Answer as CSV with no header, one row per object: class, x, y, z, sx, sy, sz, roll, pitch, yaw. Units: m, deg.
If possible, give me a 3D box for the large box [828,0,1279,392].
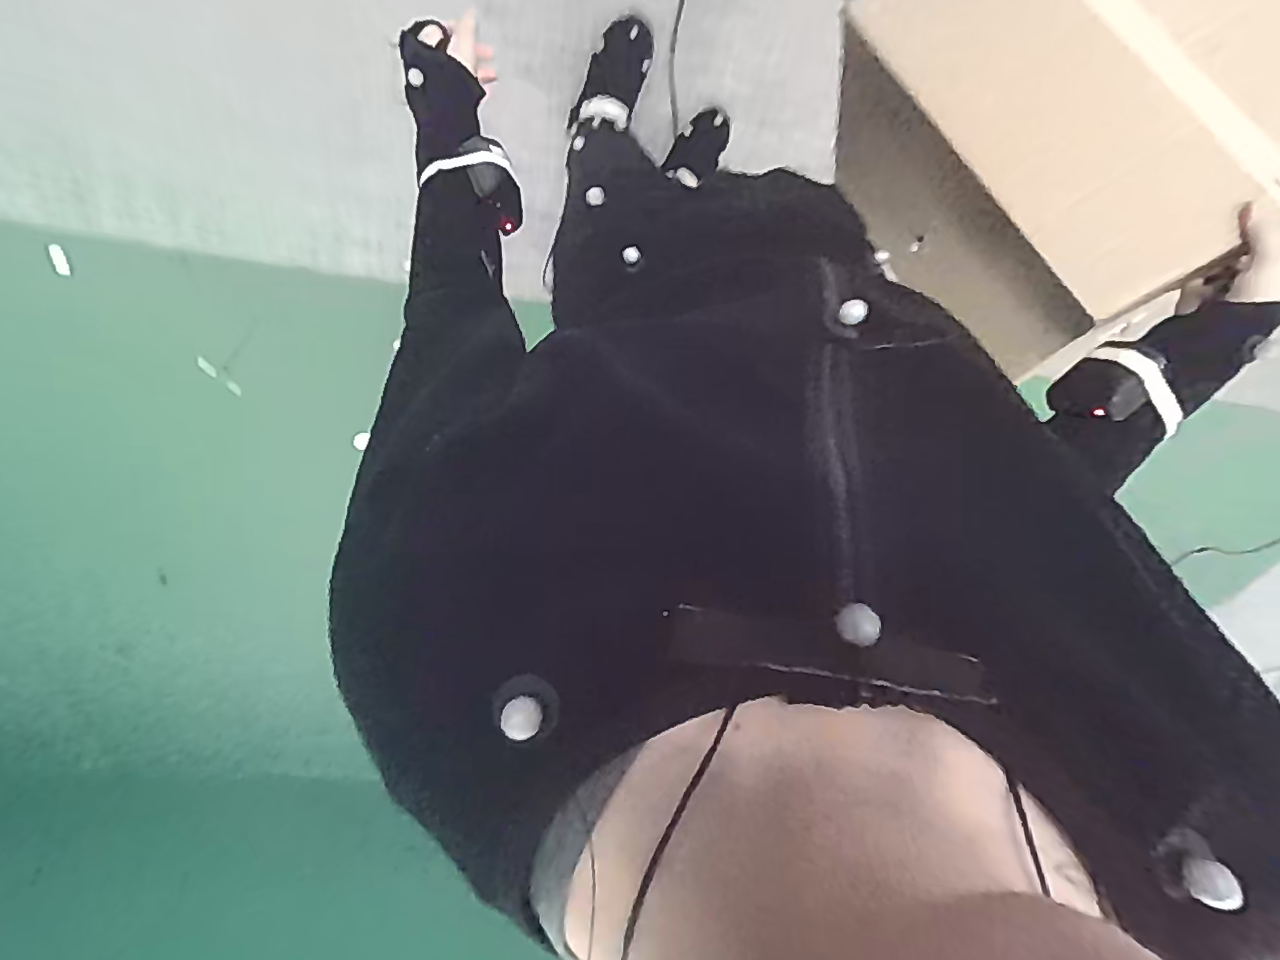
large box,0.459,-0.372,0.620,0.320,0.408,0.320,-31,167,13
